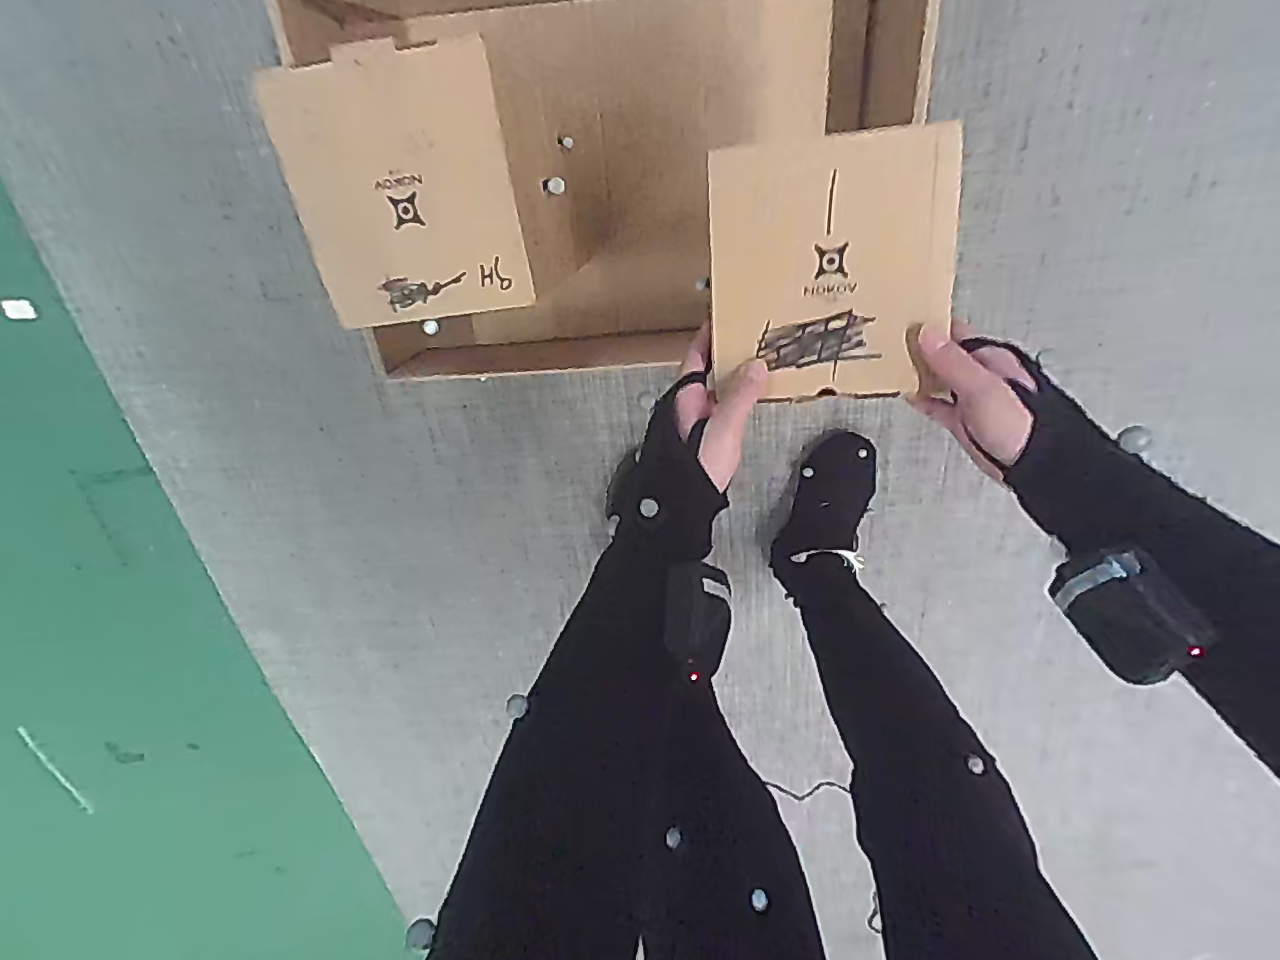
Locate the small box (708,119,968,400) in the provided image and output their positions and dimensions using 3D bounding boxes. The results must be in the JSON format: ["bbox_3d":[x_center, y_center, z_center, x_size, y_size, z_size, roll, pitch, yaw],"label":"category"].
[{"bbox_3d":[0.143,-0.166,0.452,0.168,0.176,0.179,-1,104,8],"label":"small box"}]

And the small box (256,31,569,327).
[{"bbox_3d":[-0.165,-0.239,0.461,0.168,0.176,0.179,-4,116,6],"label":"small box"}]
